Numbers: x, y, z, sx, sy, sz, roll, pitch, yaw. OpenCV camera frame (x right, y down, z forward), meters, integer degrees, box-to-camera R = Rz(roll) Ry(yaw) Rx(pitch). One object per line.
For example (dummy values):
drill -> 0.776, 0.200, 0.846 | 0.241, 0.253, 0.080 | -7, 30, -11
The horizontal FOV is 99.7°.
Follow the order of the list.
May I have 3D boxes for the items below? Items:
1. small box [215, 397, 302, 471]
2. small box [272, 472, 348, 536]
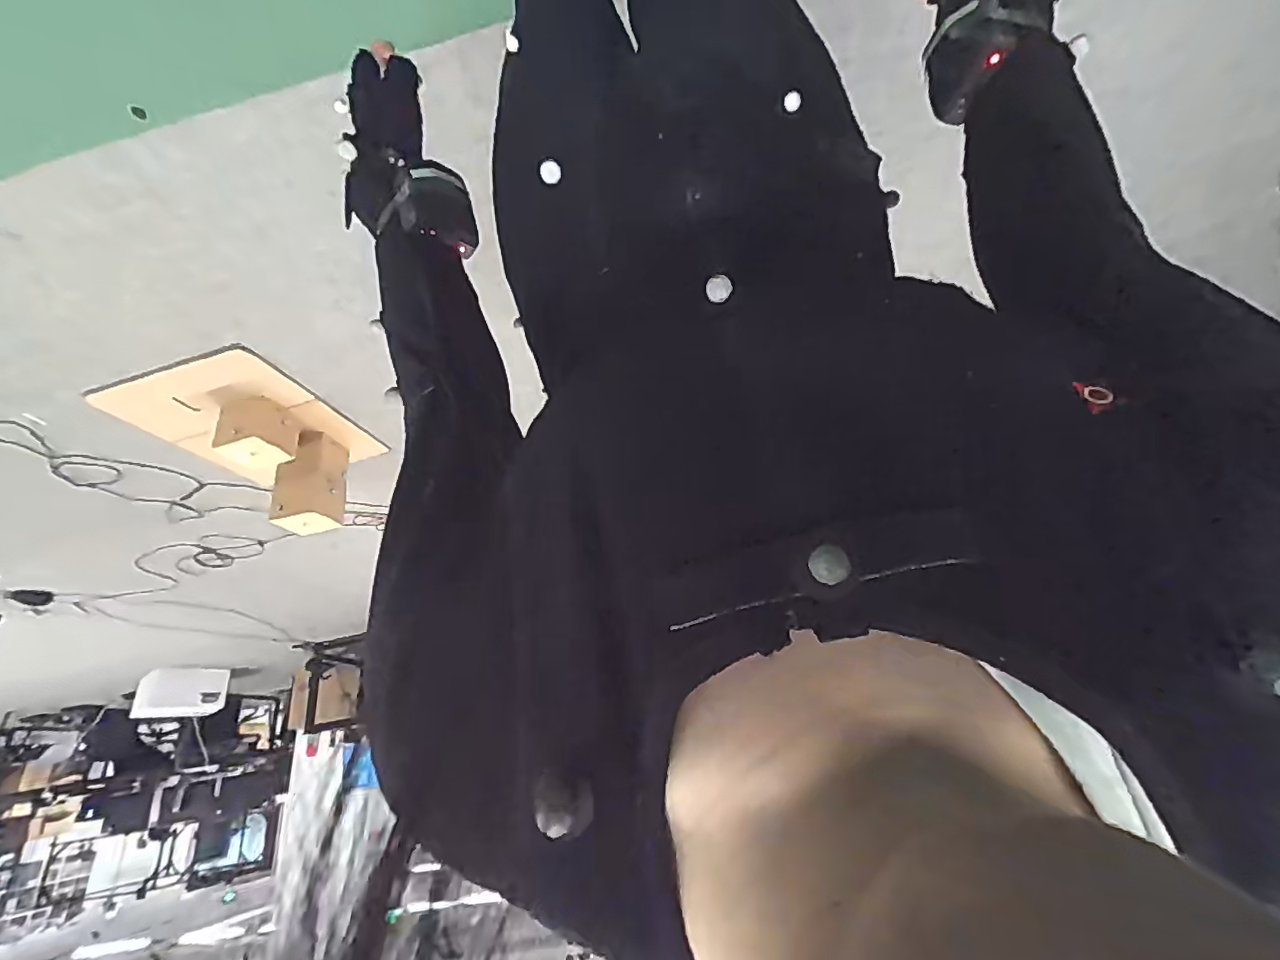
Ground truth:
small box -> -1.304, -0.158, 1.861 | 0.179, 0.176, 0.168 | -15, 152, 10
small box -> -1.212, 0.088, 2.003 | 0.179, 0.176, 0.168 | -13, 154, 6
